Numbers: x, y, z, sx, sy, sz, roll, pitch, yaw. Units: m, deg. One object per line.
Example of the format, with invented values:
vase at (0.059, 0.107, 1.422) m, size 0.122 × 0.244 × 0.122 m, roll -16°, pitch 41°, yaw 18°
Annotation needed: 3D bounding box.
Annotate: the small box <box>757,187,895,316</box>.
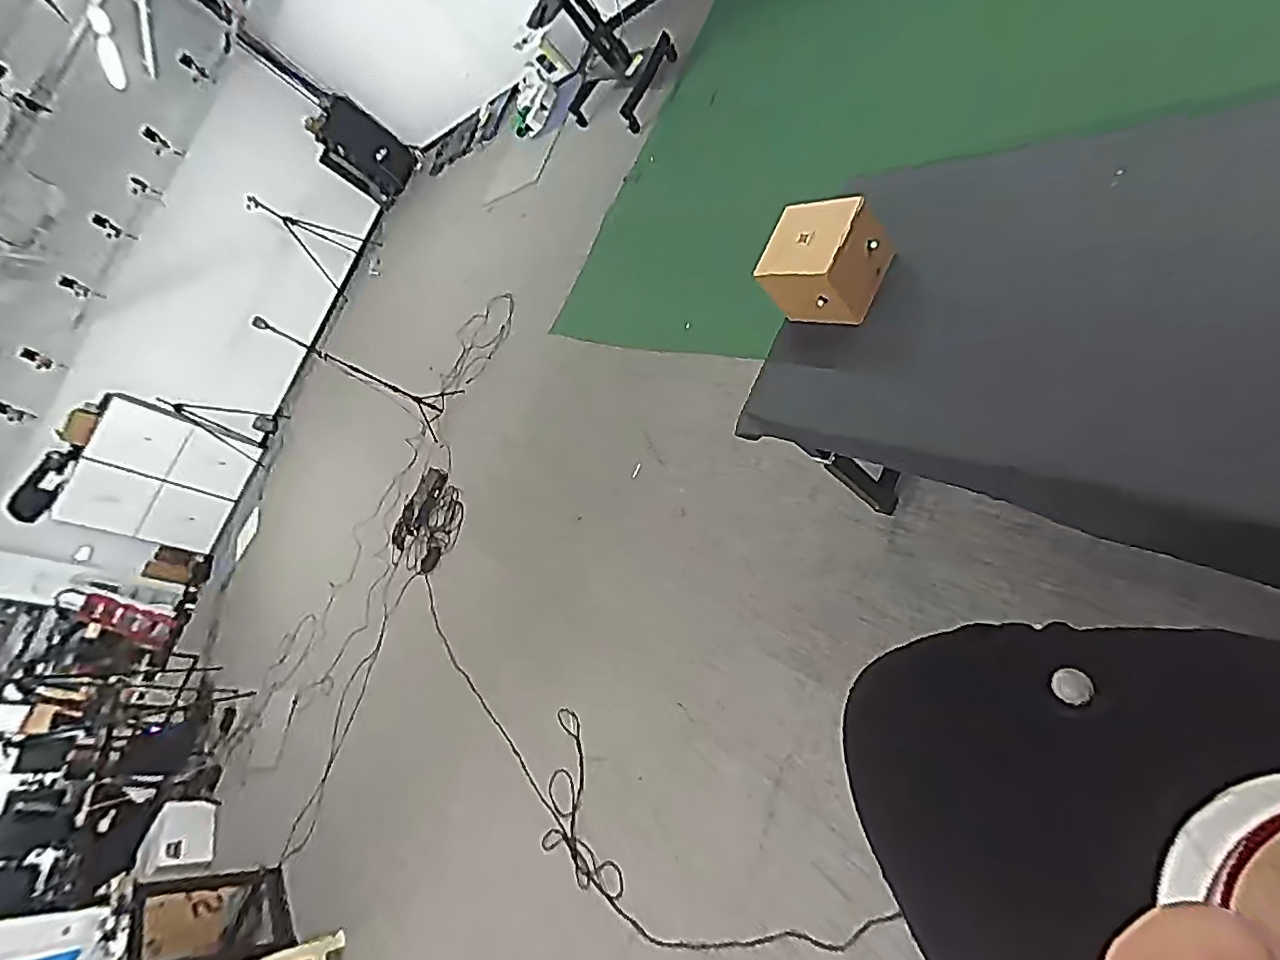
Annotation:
small box at (0.375, -0.447, 1.078) m, size 0.179 × 0.176 × 0.168 m, roll 26°, pitch 87°, yaw 48°
